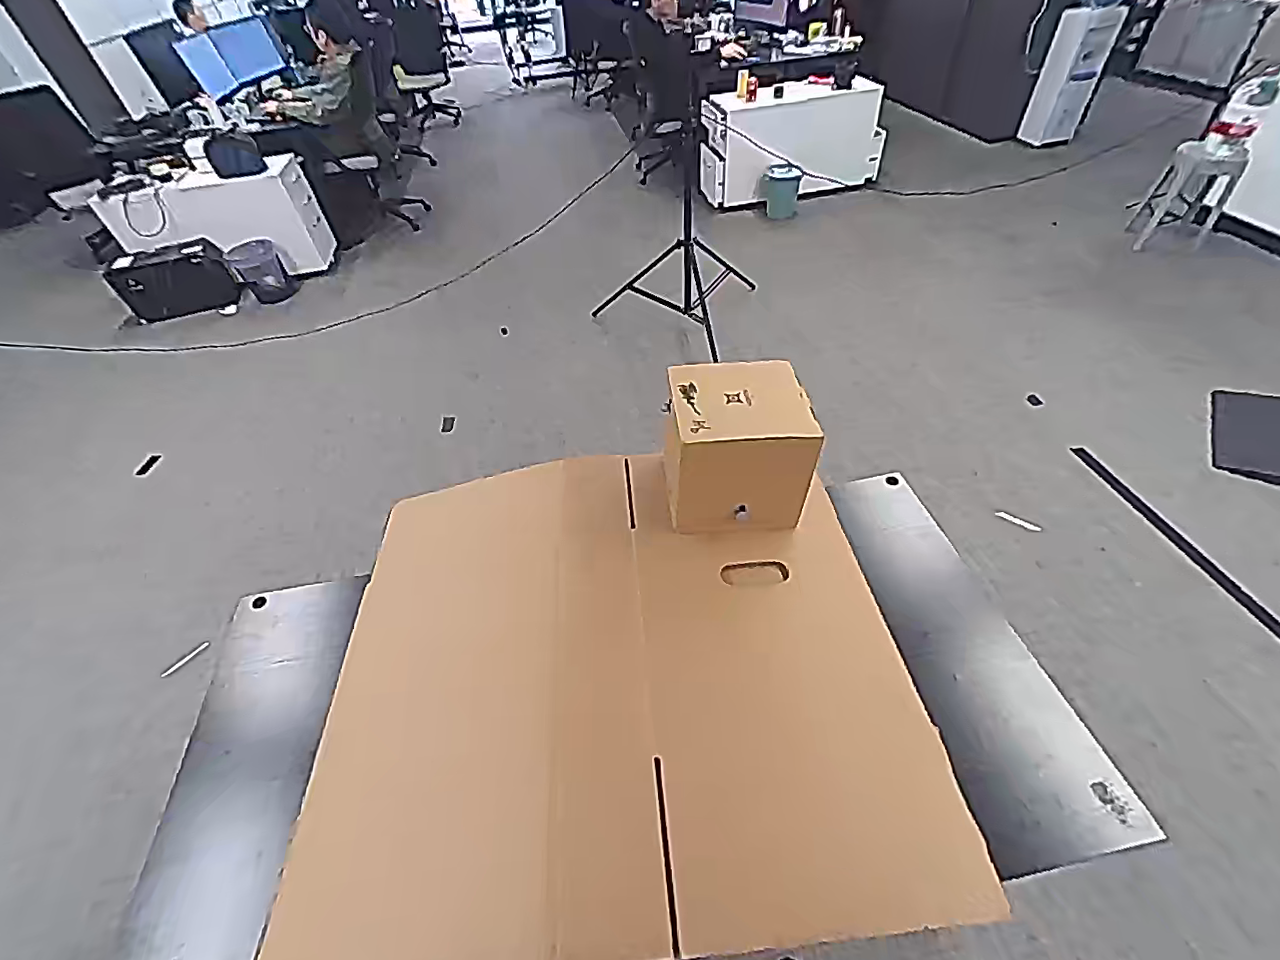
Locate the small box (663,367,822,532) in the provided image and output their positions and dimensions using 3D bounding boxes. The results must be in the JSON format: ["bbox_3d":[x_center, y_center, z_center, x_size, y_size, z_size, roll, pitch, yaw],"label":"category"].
[{"bbox_3d":[0.129,-0.042,0.760,0.179,0.176,0.168,-2,44,-3],"label":"small box"}]
